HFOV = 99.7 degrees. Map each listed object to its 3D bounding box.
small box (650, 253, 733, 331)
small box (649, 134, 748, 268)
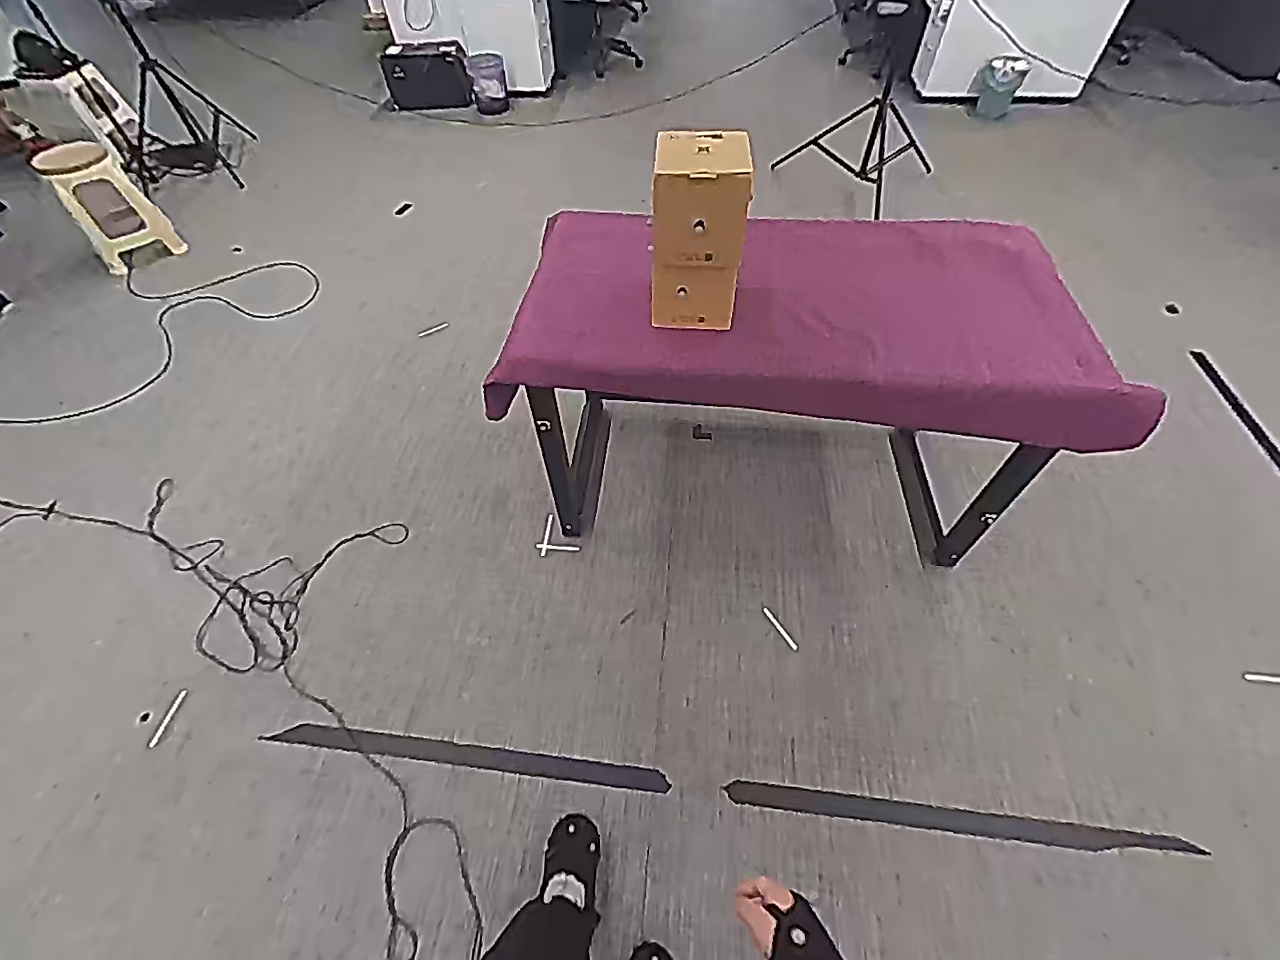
[{"bbox_3d":[0.111,-0.435,1.148,0.168,0.176,0.179,3,53,4],"label":"small box"},{"bbox_3d":[0.106,-0.513,1.002,0.168,0.176,0.179,2,54,3],"label":"small box"}]
